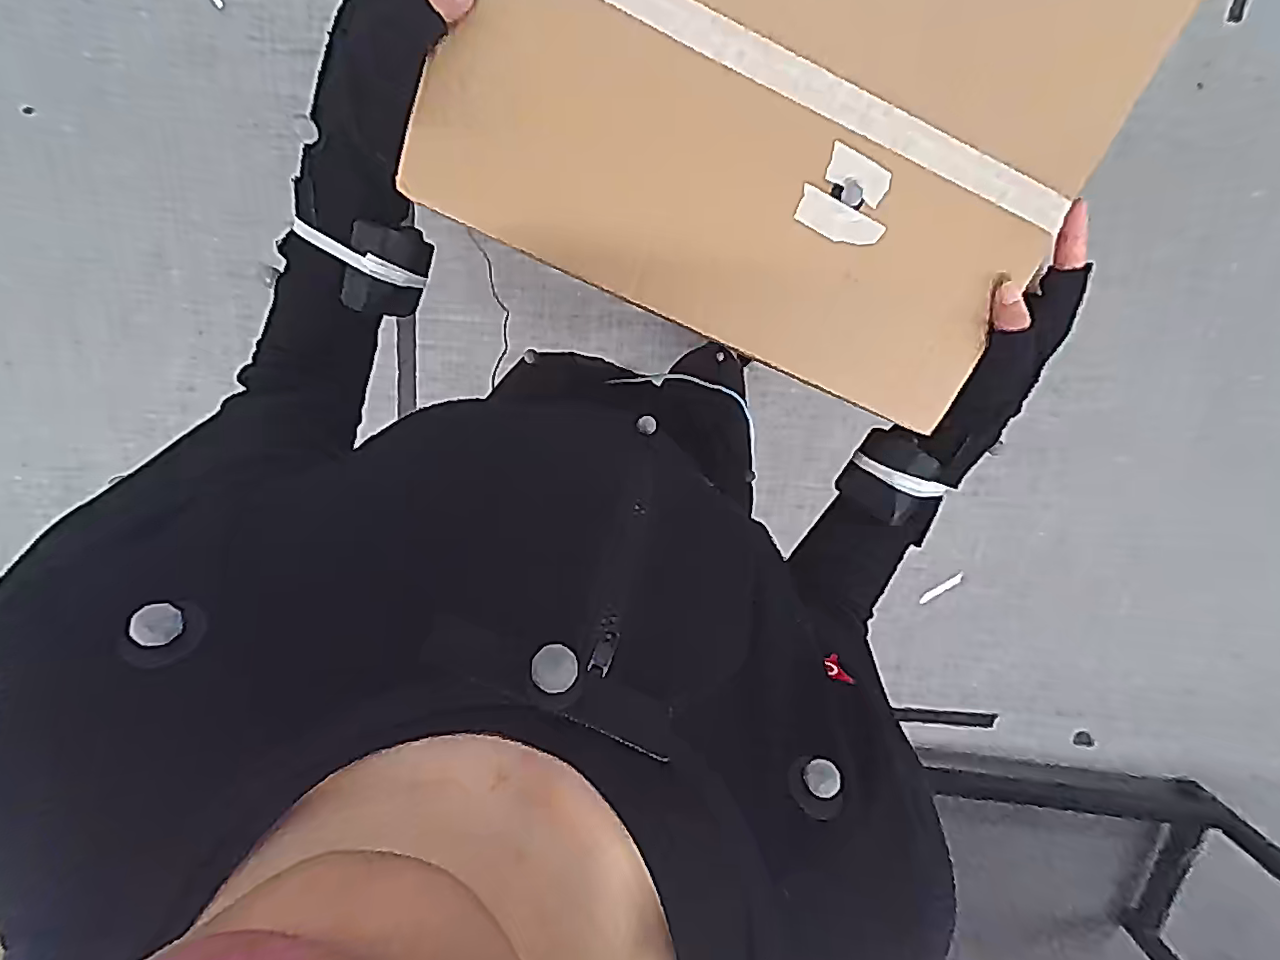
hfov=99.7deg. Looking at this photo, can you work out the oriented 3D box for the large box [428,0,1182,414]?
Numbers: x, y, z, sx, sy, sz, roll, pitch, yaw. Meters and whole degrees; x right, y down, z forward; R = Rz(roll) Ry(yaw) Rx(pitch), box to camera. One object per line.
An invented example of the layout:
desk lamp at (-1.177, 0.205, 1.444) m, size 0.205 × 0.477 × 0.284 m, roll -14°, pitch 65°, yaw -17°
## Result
large box at (0.094, -0.300, 0.483) m, size 0.408 × 0.320 × 0.320 m, roll 23°, pitch 108°, yaw -8°
